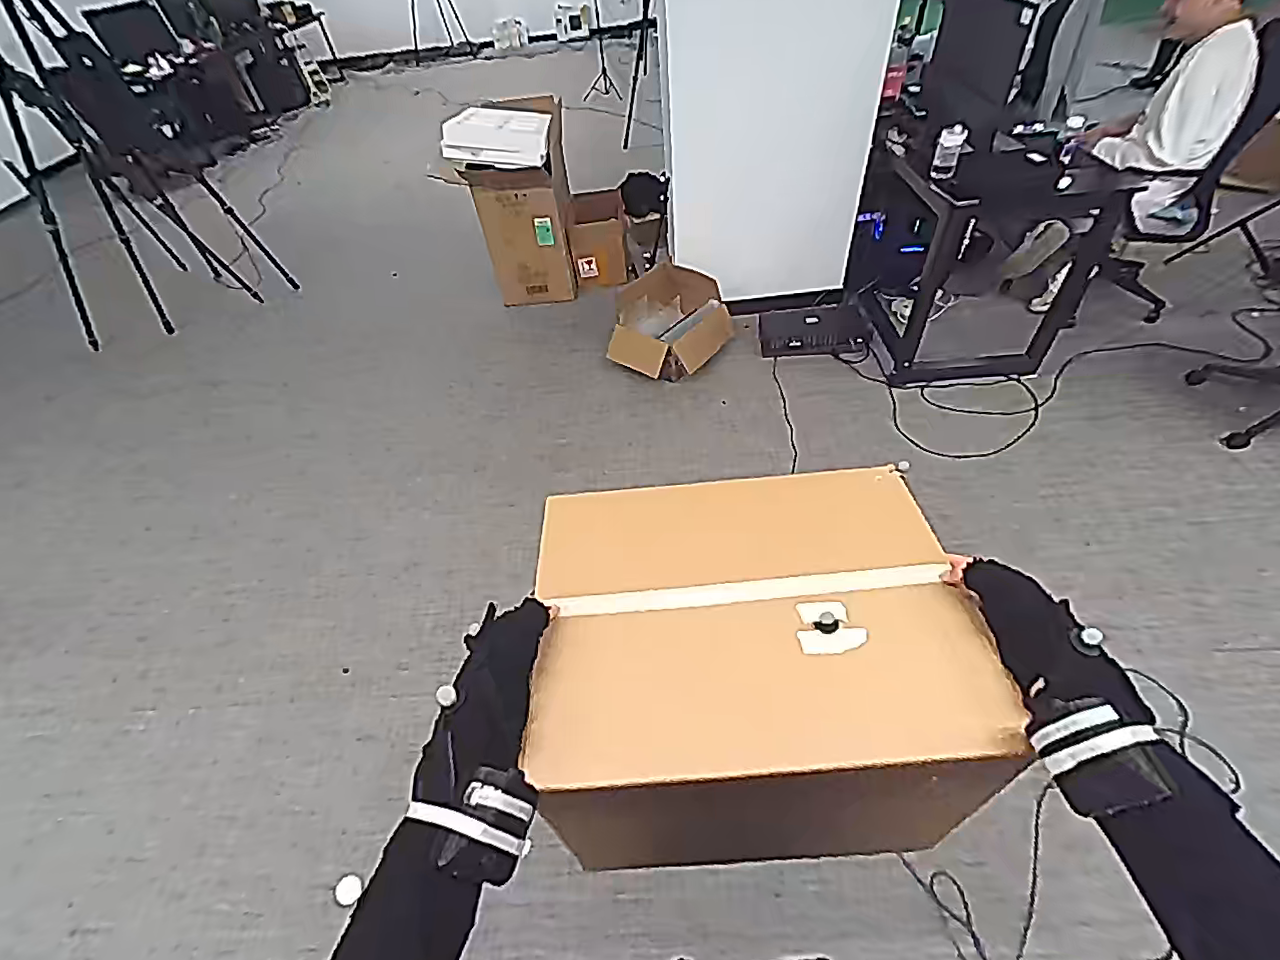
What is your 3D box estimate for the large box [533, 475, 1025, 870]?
[{"bbox_3d":[0.113,0.226,0.637,0.408,0.320,0.320,-6,44,2],"label":"large box"}]
